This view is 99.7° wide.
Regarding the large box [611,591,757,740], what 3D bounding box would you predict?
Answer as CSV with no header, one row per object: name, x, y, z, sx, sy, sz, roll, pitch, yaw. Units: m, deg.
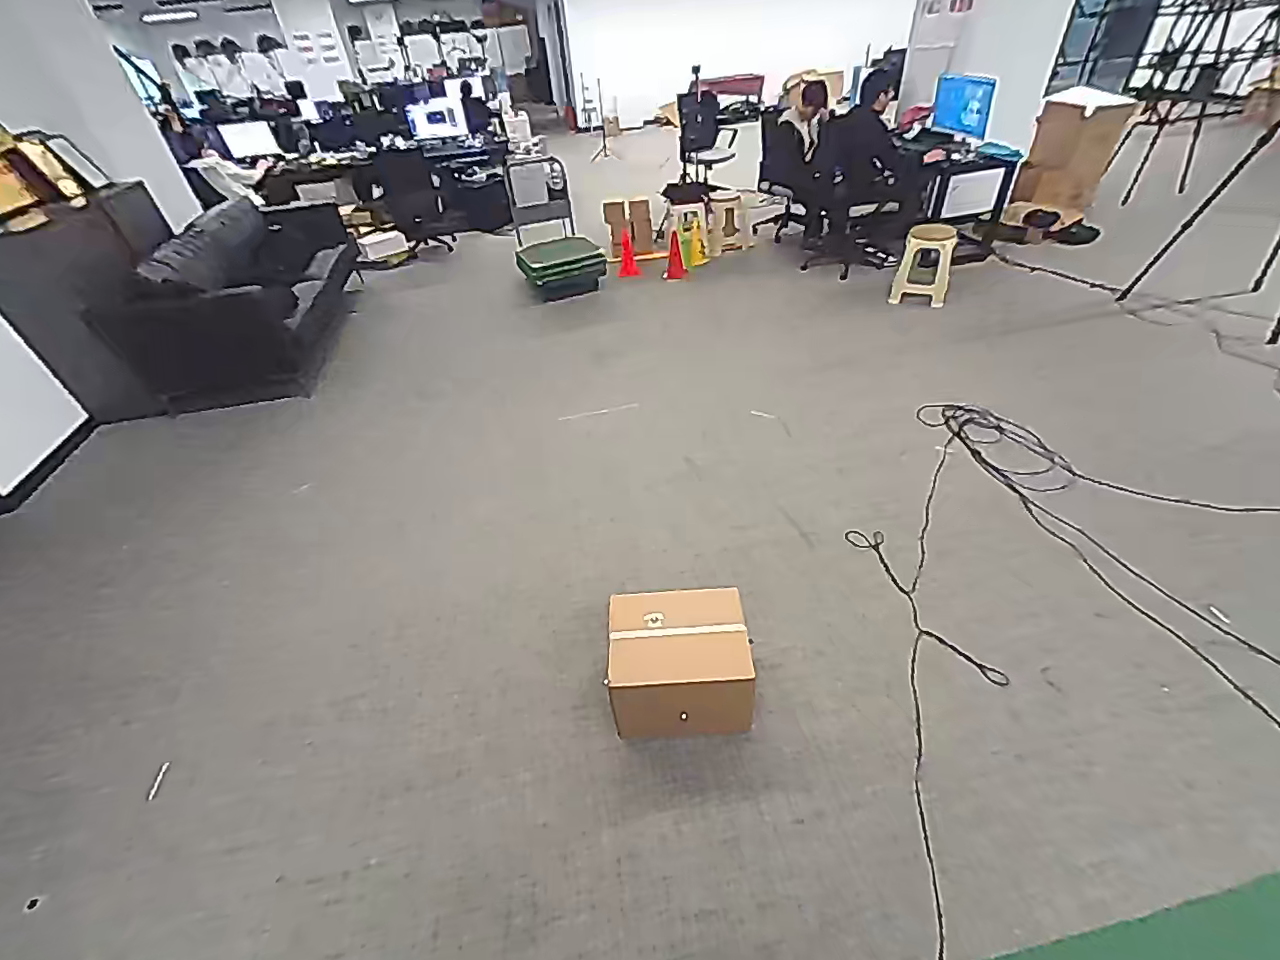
large box,0.131,0.575,1.672,0.408,0.320,0.320,-5,39,3
